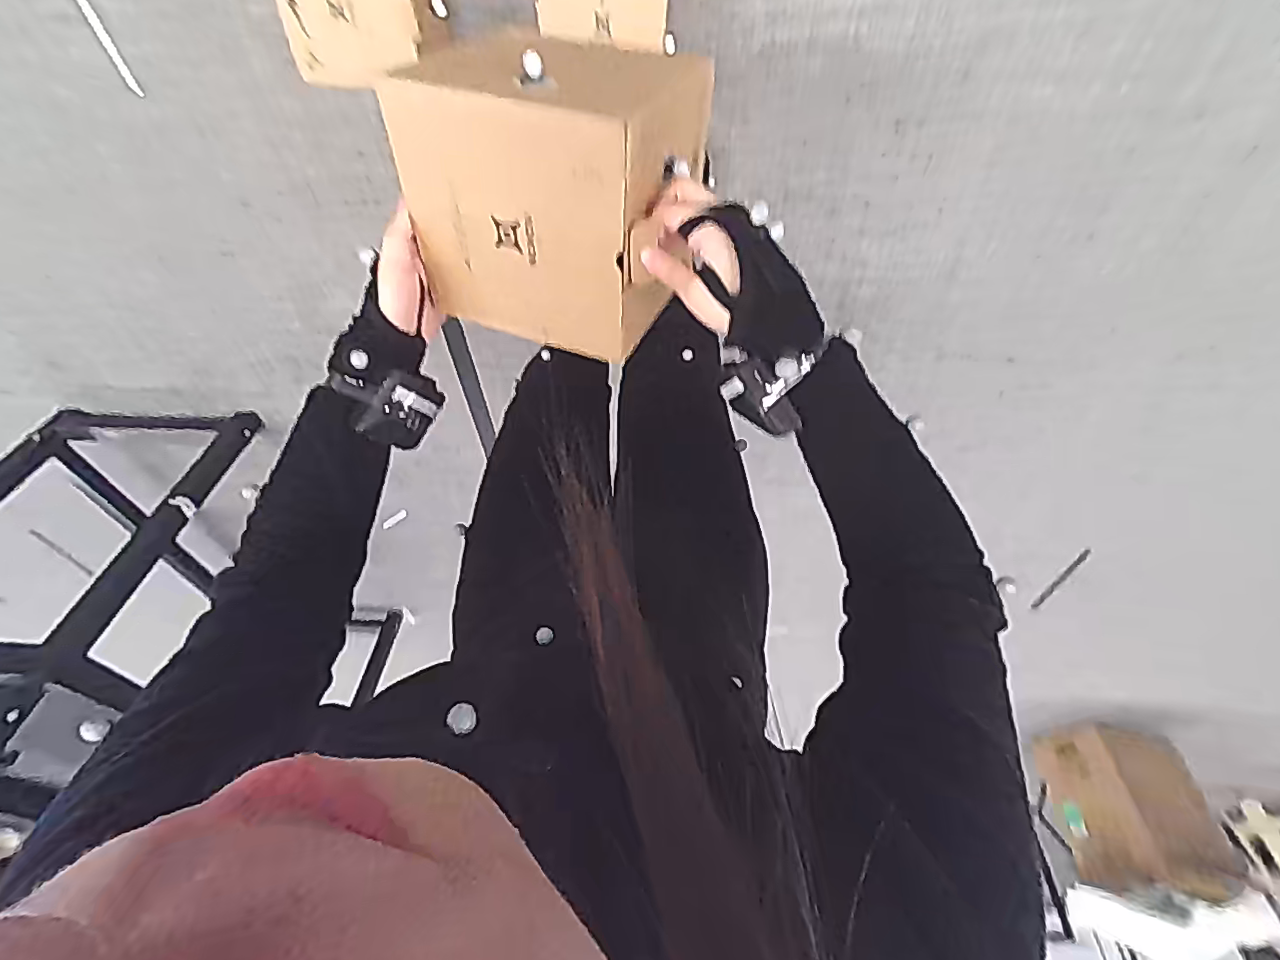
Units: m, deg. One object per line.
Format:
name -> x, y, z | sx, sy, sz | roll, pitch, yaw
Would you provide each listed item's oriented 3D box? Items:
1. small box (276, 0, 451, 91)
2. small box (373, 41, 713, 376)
small box -> -0.375, -0.660, 0.750 | 0.179, 0.176, 0.168 | 4, 138, -1
small box -> -0.057, -0.213, 0.417 | 0.179, 0.176, 0.168 | 20, 140, 12
